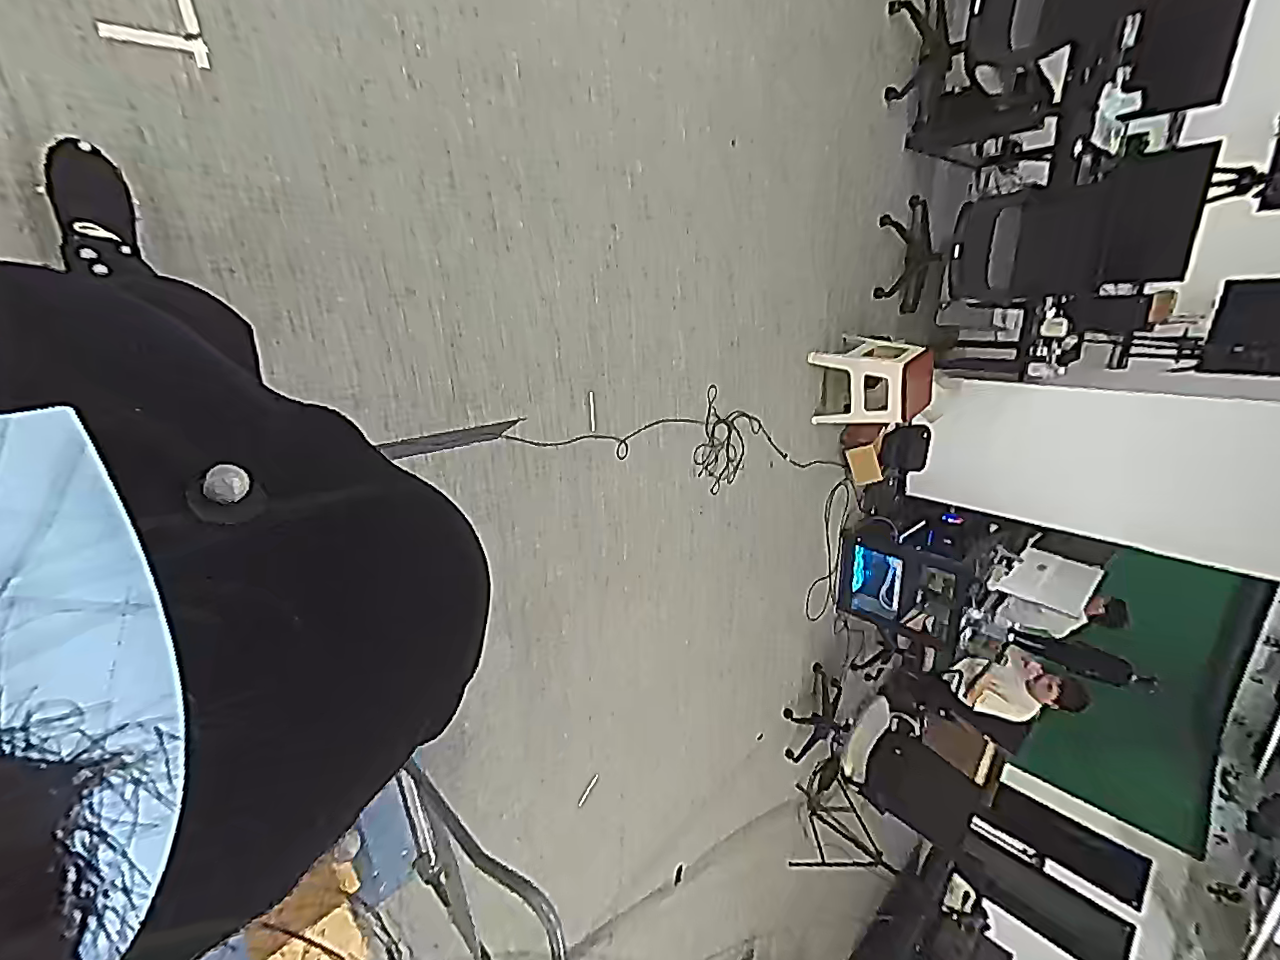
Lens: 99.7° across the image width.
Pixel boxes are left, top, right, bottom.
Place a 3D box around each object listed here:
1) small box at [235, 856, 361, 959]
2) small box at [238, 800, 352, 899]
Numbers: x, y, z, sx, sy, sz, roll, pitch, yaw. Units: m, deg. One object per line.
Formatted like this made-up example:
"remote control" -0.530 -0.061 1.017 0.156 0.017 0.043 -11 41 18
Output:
"small box" -0.707 0.938 1.118 0.168 0.176 0.179 -23 116 -37
"small box" -0.798 0.897 1.252 0.168 0.176 0.179 -24 117 -37
